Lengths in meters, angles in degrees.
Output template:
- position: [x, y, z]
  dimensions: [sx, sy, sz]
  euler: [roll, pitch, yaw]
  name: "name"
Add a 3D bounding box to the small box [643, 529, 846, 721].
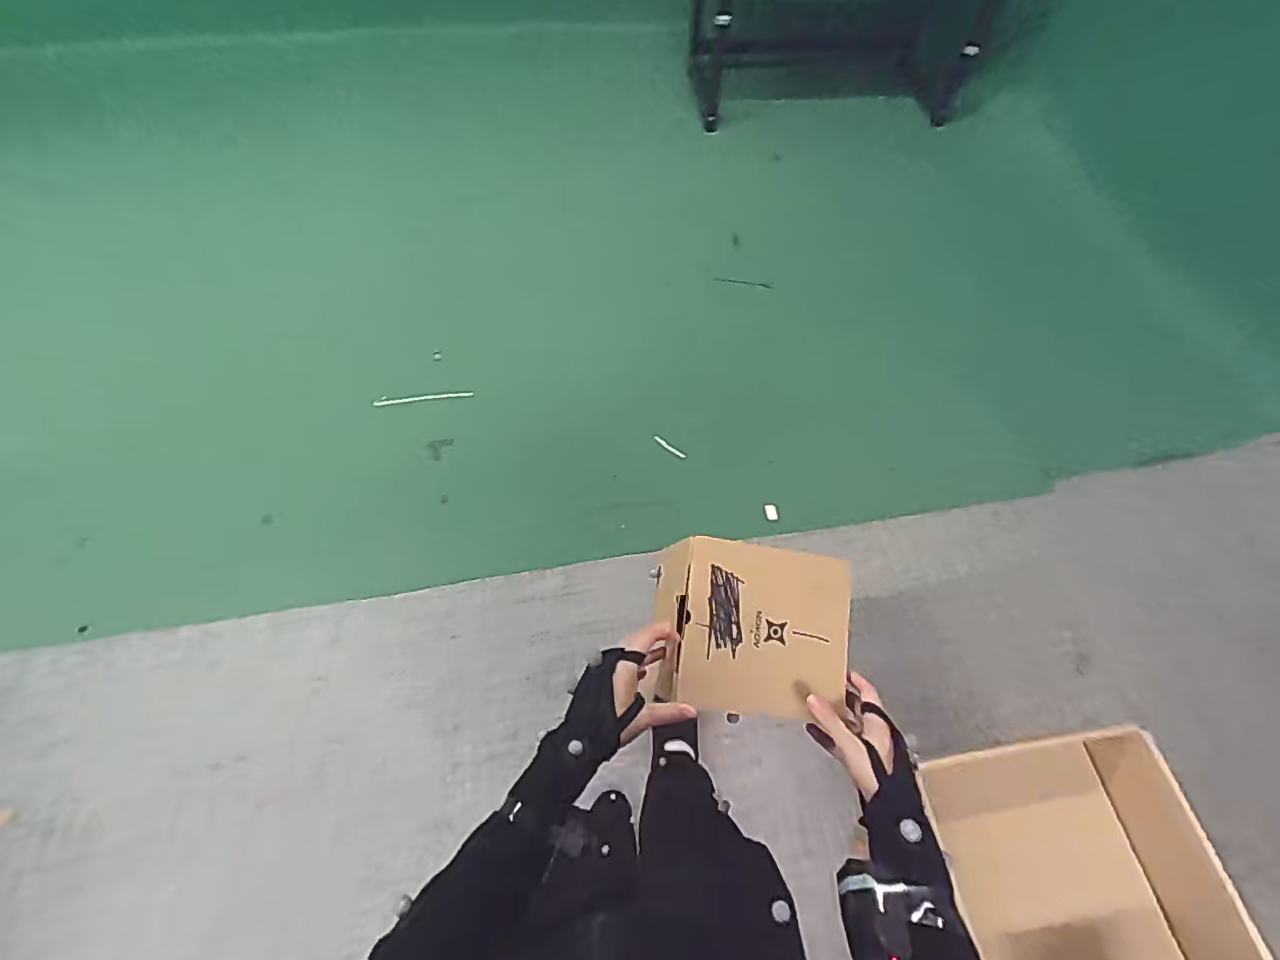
- position: [0.106, 0.159, 0.606]
  dimensions: [0.179, 0.176, 0.168]
  euler: [10, 76, -8]
  name: "small box"
